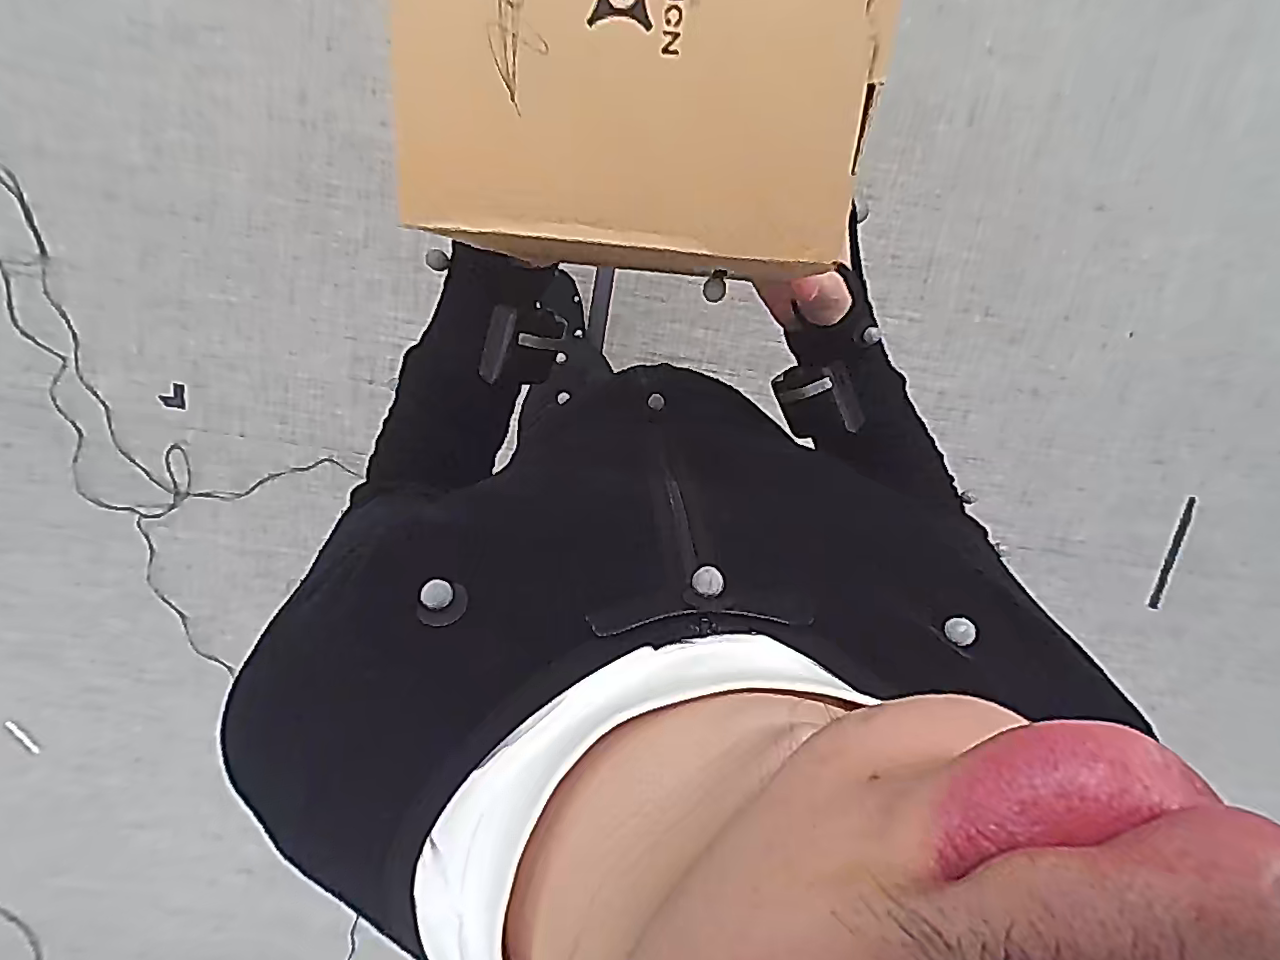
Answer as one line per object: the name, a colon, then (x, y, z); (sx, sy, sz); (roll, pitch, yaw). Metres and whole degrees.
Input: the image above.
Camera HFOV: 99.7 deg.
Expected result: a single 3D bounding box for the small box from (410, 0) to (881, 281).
small box: (0.006, -0.196, 0.274); (0.179, 0.176, 0.168); (6, 108, 4)
